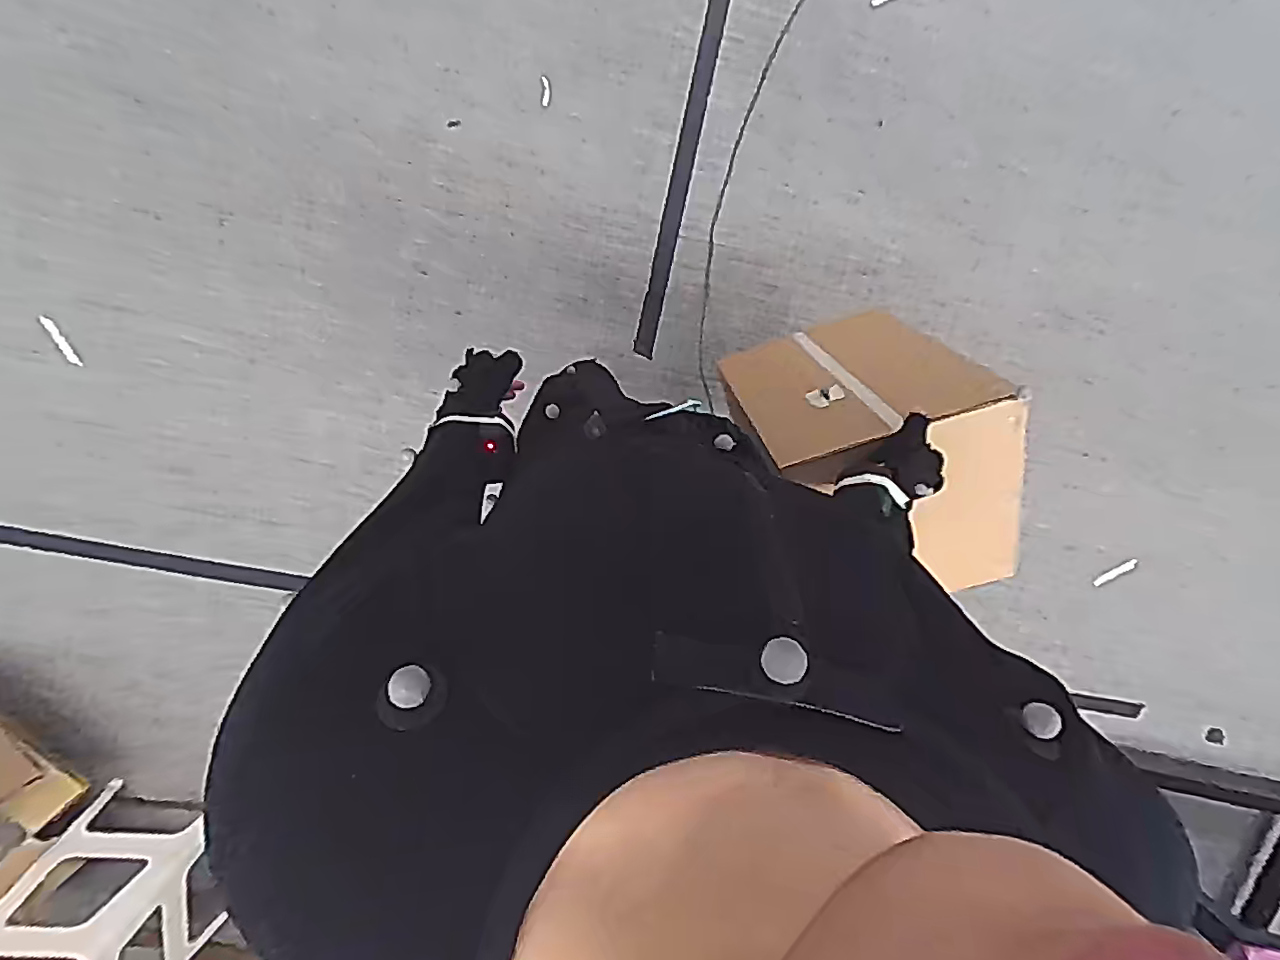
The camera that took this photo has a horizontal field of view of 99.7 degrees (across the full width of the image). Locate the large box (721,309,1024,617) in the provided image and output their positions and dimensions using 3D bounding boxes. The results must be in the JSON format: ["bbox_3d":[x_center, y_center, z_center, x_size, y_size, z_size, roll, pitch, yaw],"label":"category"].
[{"bbox_3d":[0.357,-0.046,0.921,0.320,0.408,0.320,-18,123,7],"label":"large box"}]
